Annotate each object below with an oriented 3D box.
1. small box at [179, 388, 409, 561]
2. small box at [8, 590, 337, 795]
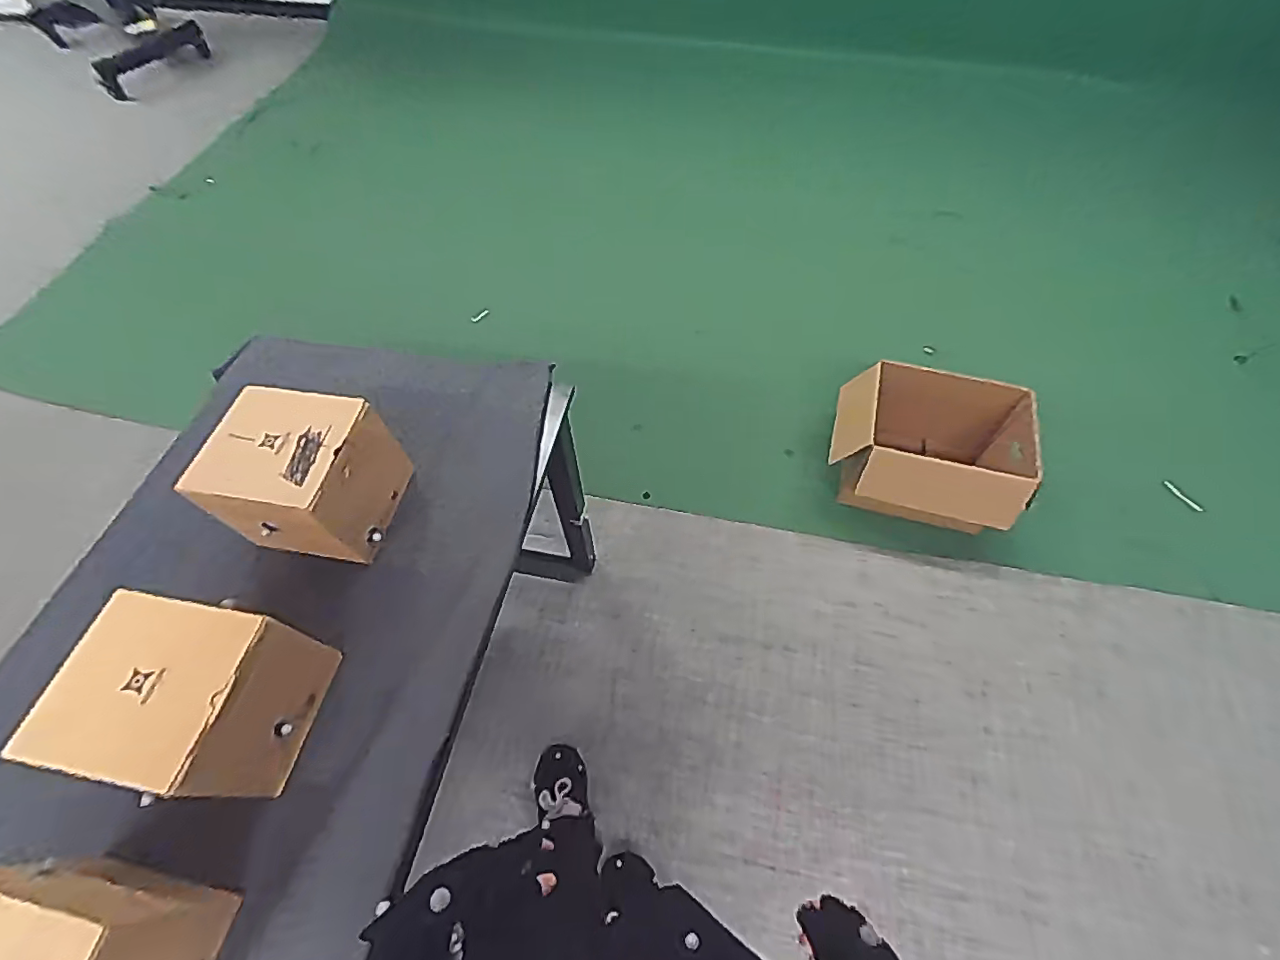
[{"bbox_3d":[-0.450,-0.001,0.743,0.179,0.176,0.168,8,59,6],"label":"small box"},{"bbox_3d":[-0.485,0.240,0.598,0.179,0.176,0.168,9,59,5],"label":"small box"}]
